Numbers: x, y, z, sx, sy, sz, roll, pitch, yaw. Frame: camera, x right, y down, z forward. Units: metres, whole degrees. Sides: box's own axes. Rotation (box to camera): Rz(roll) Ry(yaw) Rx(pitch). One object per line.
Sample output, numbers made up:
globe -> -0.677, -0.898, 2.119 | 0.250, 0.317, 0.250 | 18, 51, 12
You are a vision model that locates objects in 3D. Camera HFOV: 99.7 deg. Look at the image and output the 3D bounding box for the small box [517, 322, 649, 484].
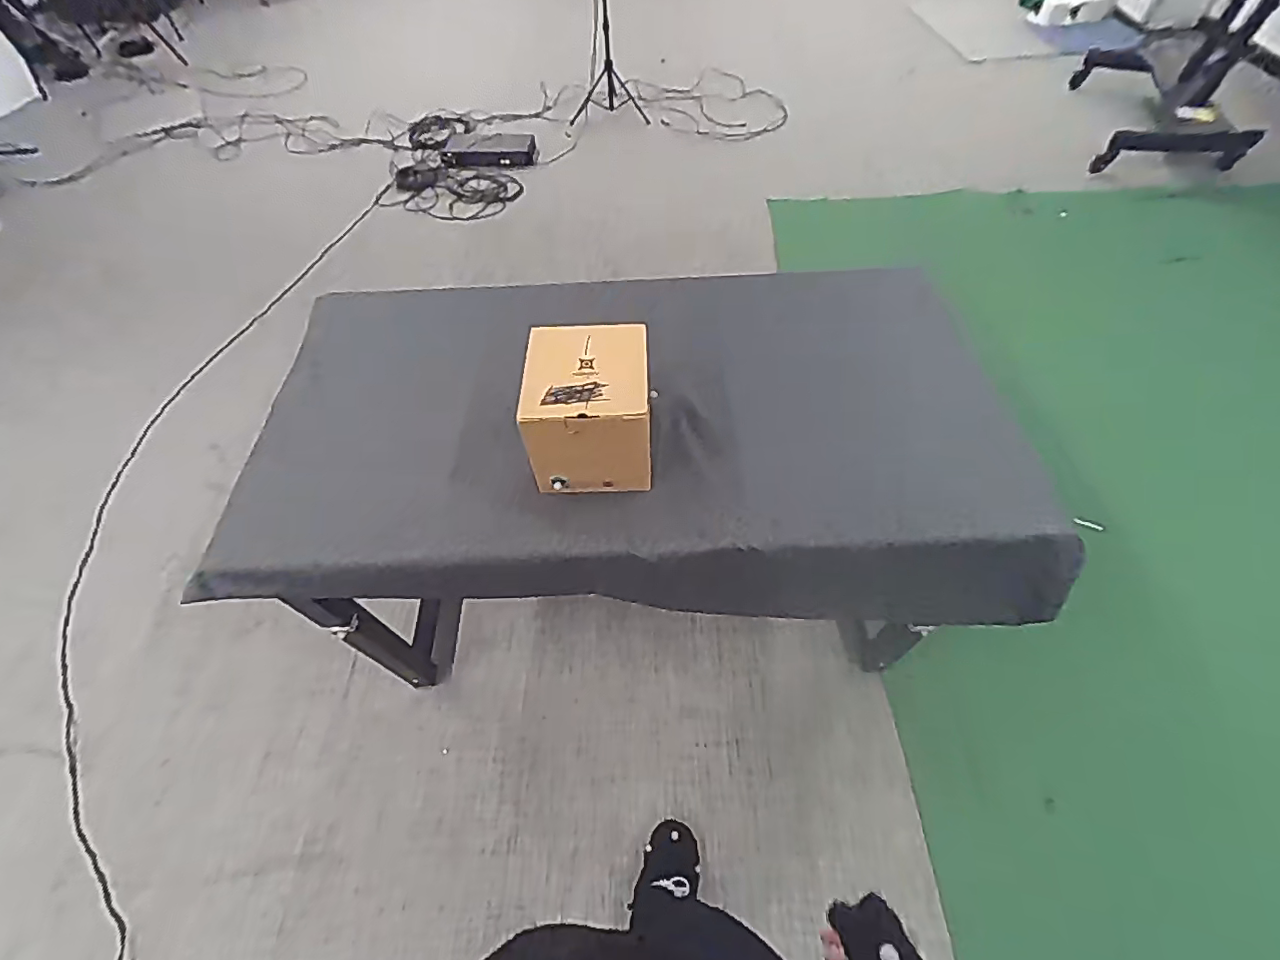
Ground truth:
small box -> -0.071, -0.106, 0.789 | 0.168, 0.176, 0.179 | -1, 55, 1
